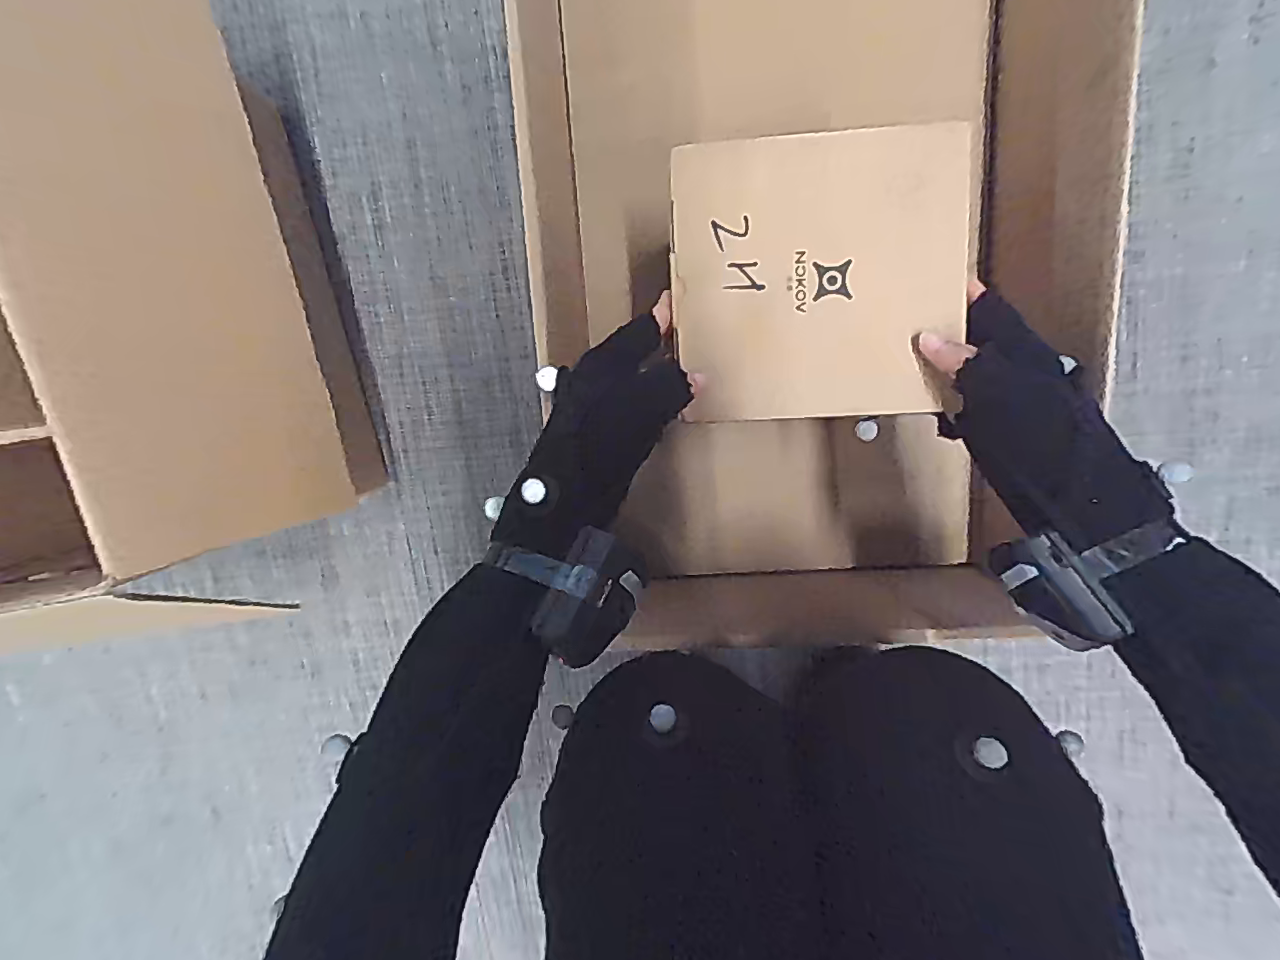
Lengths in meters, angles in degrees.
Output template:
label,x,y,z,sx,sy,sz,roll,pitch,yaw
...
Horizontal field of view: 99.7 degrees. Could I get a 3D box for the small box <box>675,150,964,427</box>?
label,x,y,z,sx,sy,sz,roll,pitch,yaw
small box,0.116,-0.127,0.420,0.179,0.176,0.168,-1,96,5
